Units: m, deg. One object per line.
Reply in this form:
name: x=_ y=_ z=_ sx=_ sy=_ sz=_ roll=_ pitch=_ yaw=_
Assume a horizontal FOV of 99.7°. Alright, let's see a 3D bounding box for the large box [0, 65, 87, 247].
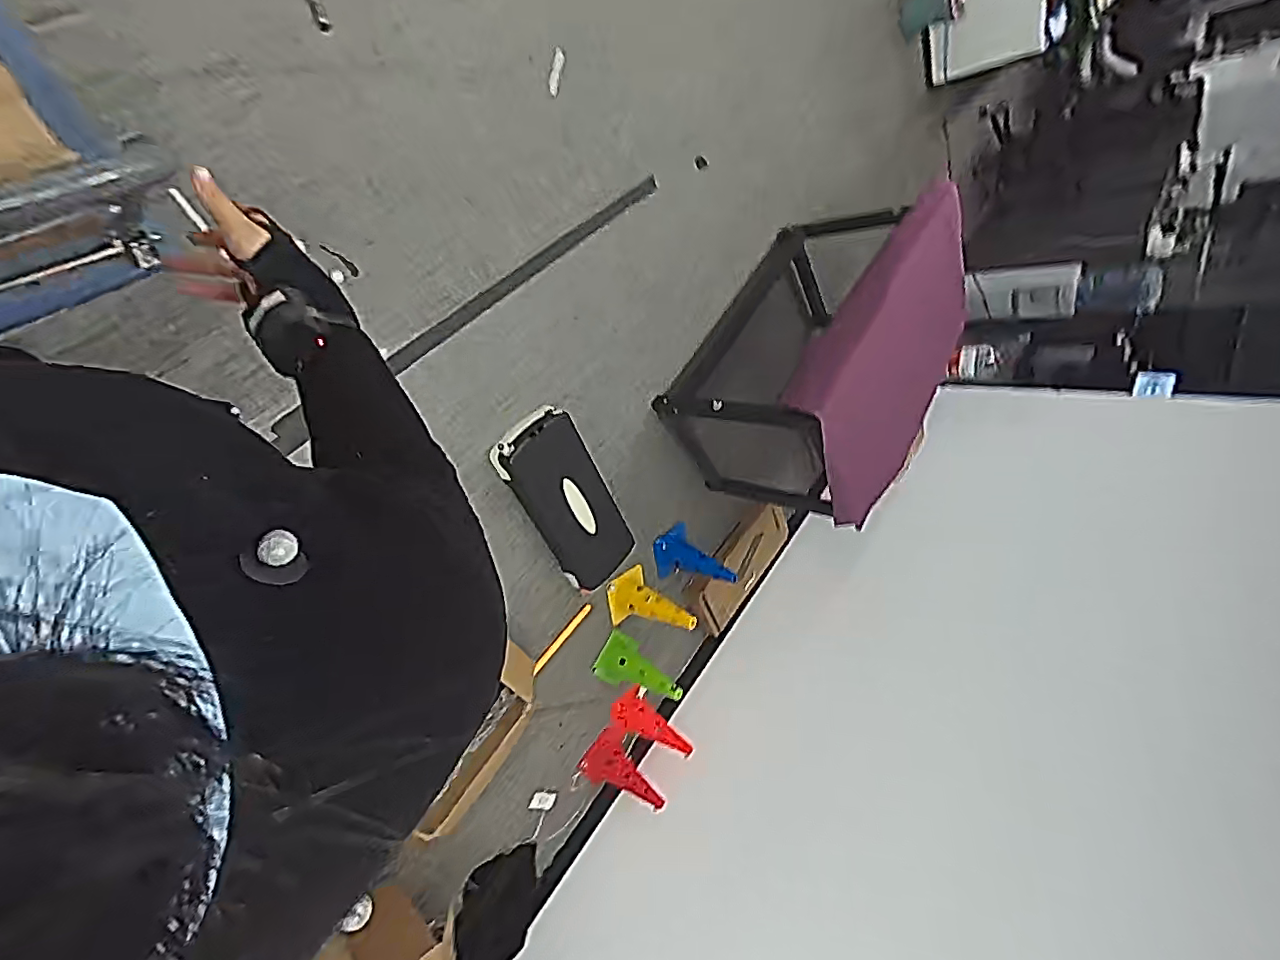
large box: x=-0.991 y=-0.414 z=0.625 sx=0.408 sy=0.320 sz=0.320 roll=-42 pitch=128 yaw=-31
